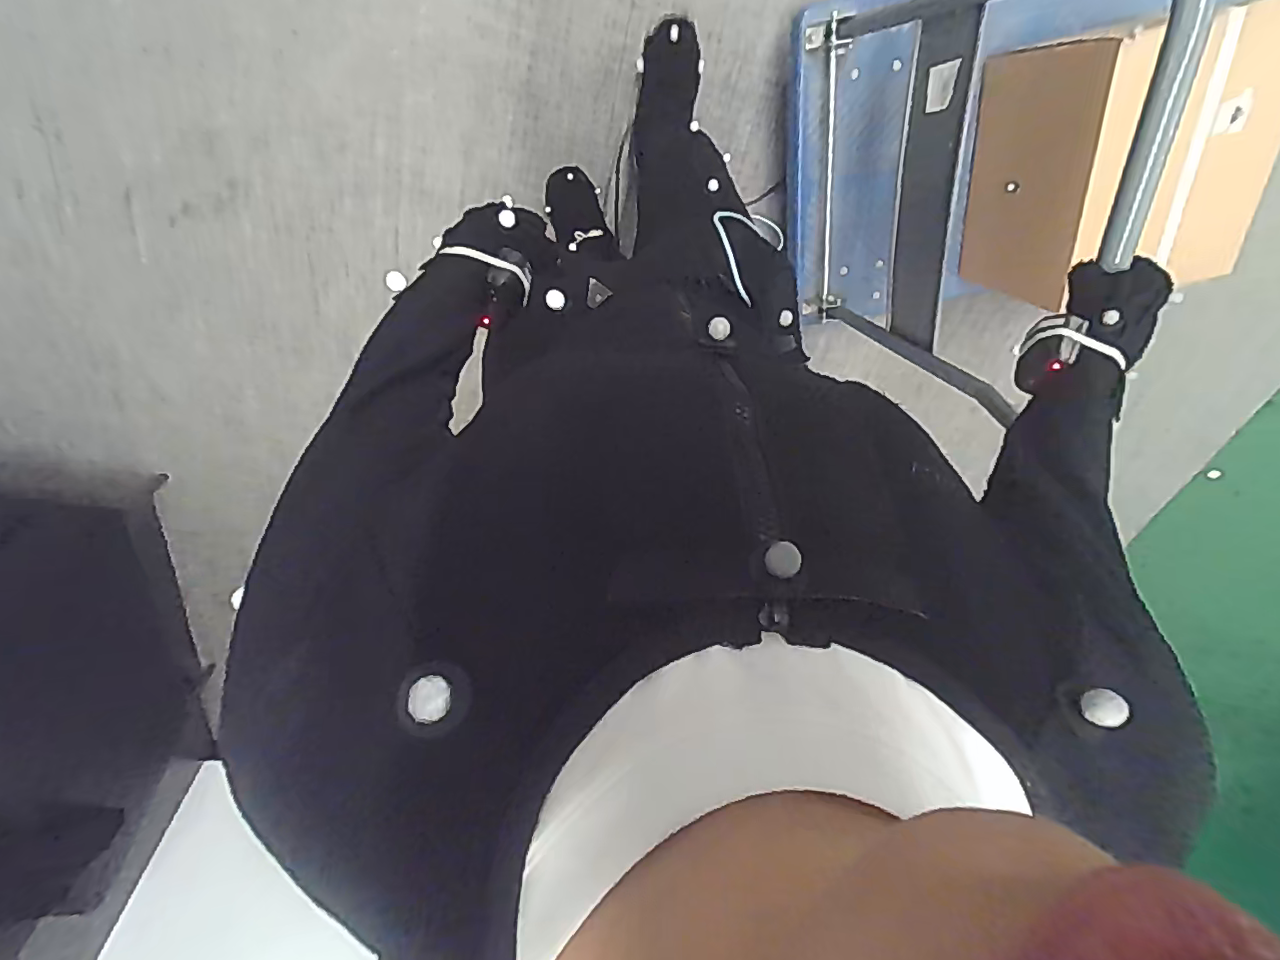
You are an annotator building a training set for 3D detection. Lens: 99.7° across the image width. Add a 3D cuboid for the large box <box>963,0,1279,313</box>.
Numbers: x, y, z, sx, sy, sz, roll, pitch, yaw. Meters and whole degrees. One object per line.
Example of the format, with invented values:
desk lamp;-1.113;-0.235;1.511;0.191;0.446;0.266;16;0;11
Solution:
large box;0.841;-0.576;0.985;0.320;0.320;0.408;-14;123;2
